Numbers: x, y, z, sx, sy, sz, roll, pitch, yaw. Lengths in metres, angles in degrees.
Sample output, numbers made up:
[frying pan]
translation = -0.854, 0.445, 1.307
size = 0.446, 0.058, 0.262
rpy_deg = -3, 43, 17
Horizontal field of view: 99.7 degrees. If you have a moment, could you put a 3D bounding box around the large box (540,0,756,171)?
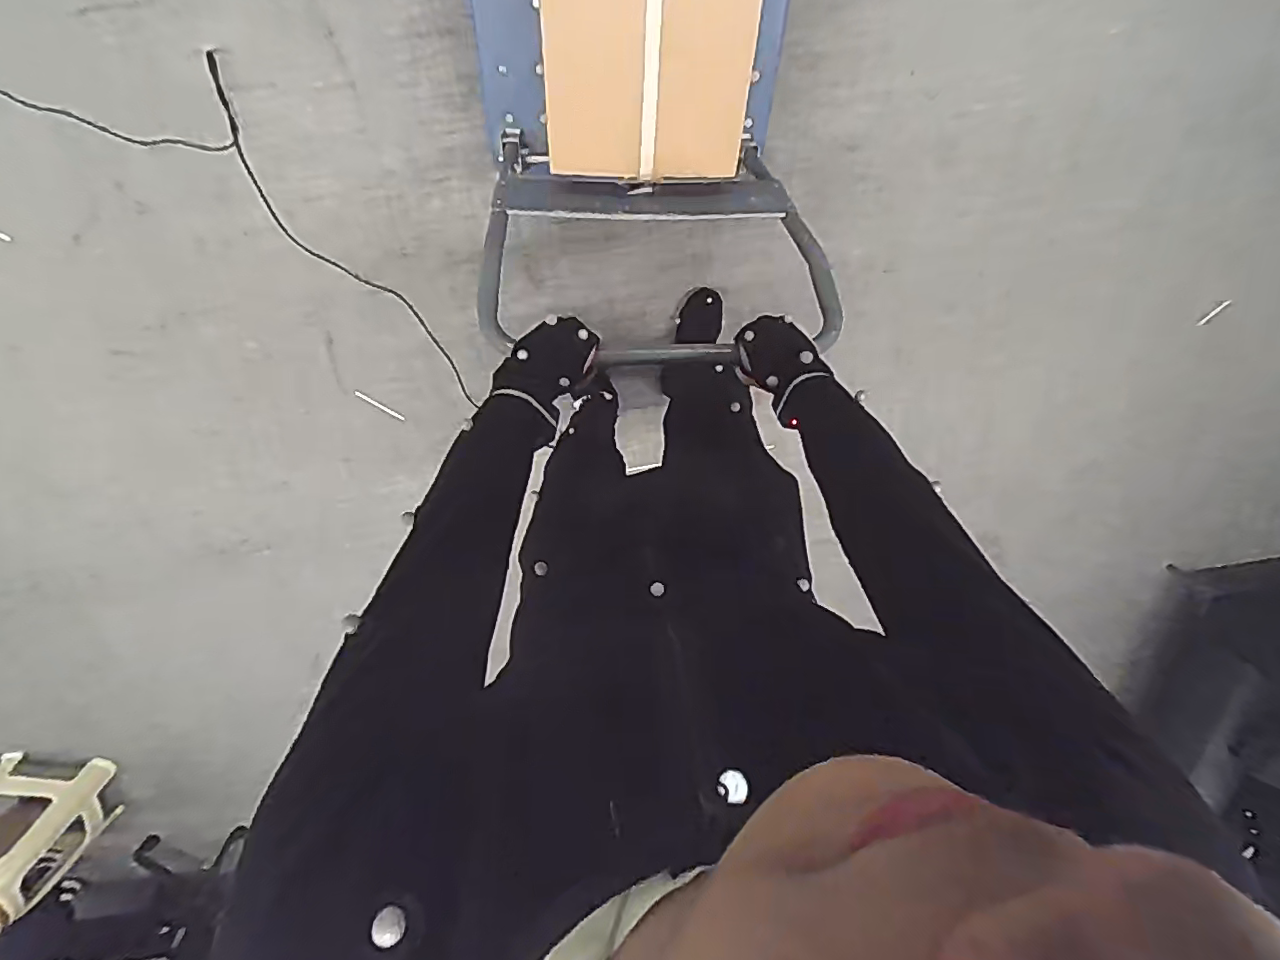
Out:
[large box]
translation = 0.001, -0.766, 0.883
size = 0.320, 0.320, 0.408
rpy_deg = -2, 134, -6
